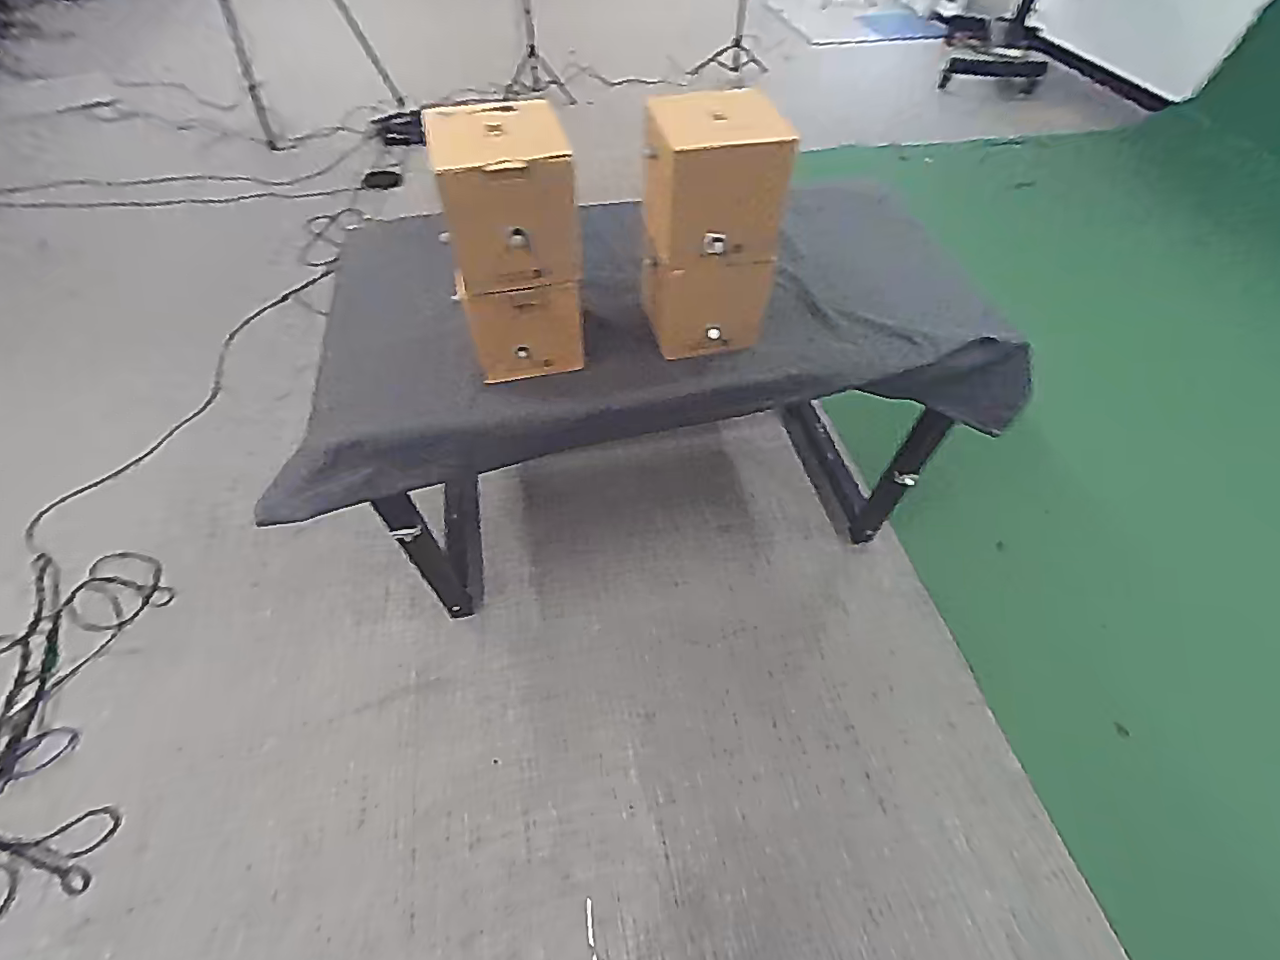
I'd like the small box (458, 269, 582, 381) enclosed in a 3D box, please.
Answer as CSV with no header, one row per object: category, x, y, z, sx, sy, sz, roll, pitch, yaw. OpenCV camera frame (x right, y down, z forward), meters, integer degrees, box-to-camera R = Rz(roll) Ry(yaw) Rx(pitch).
small box,-0.191,-0.285,0.865,0.168,0.176,0.179,-11,55,-10

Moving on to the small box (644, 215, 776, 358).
small box,0.103,-0.330,0.901,0.168,0.176,0.179,-11,55,-8

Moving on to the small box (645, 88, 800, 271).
small box,0.102,-0.426,0.770,0.168,0.176,0.179,-10,55,-7

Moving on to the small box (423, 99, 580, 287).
small box,-0.181,-0.380,0.732,0.168,0.176,0.179,-13,56,-11
